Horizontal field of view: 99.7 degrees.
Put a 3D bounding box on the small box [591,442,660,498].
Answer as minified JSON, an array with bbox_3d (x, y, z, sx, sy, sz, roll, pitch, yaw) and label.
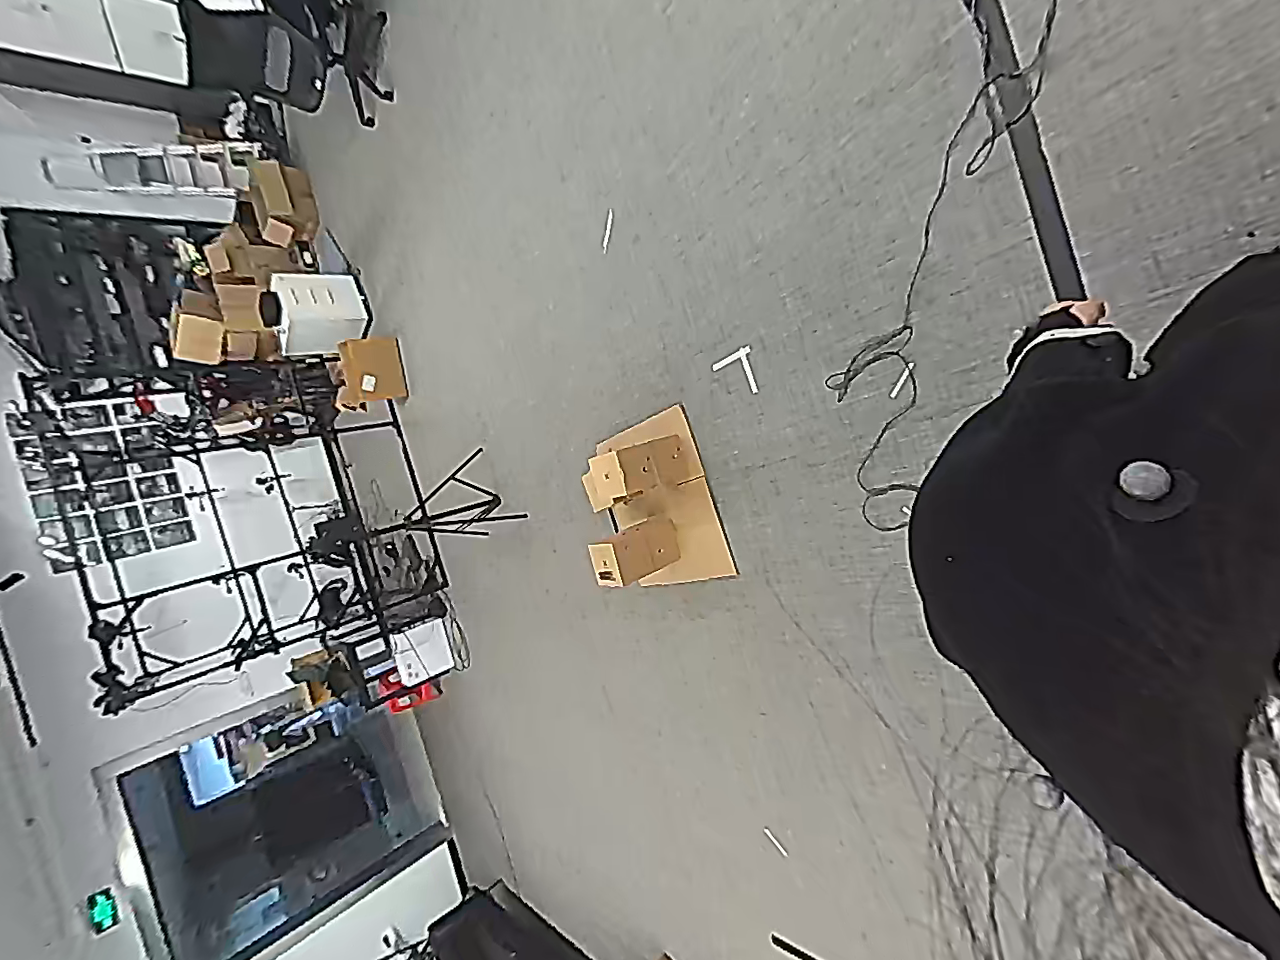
[{"bbox_3d":[-0.053,-0.038,2.021,0.179,0.176,0.168,-14,93,49],"label":"small box"}]

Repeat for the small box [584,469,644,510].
[{"bbox_3d":[-0.113,0.015,2.364,0.168,0.176,0.179,-26,84,50],"label":"small box"}]

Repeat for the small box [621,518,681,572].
[{"bbox_3d":[0.049,0.268,2.262,0.168,0.176,0.179,-5,100,49],"label":"small box"}]
